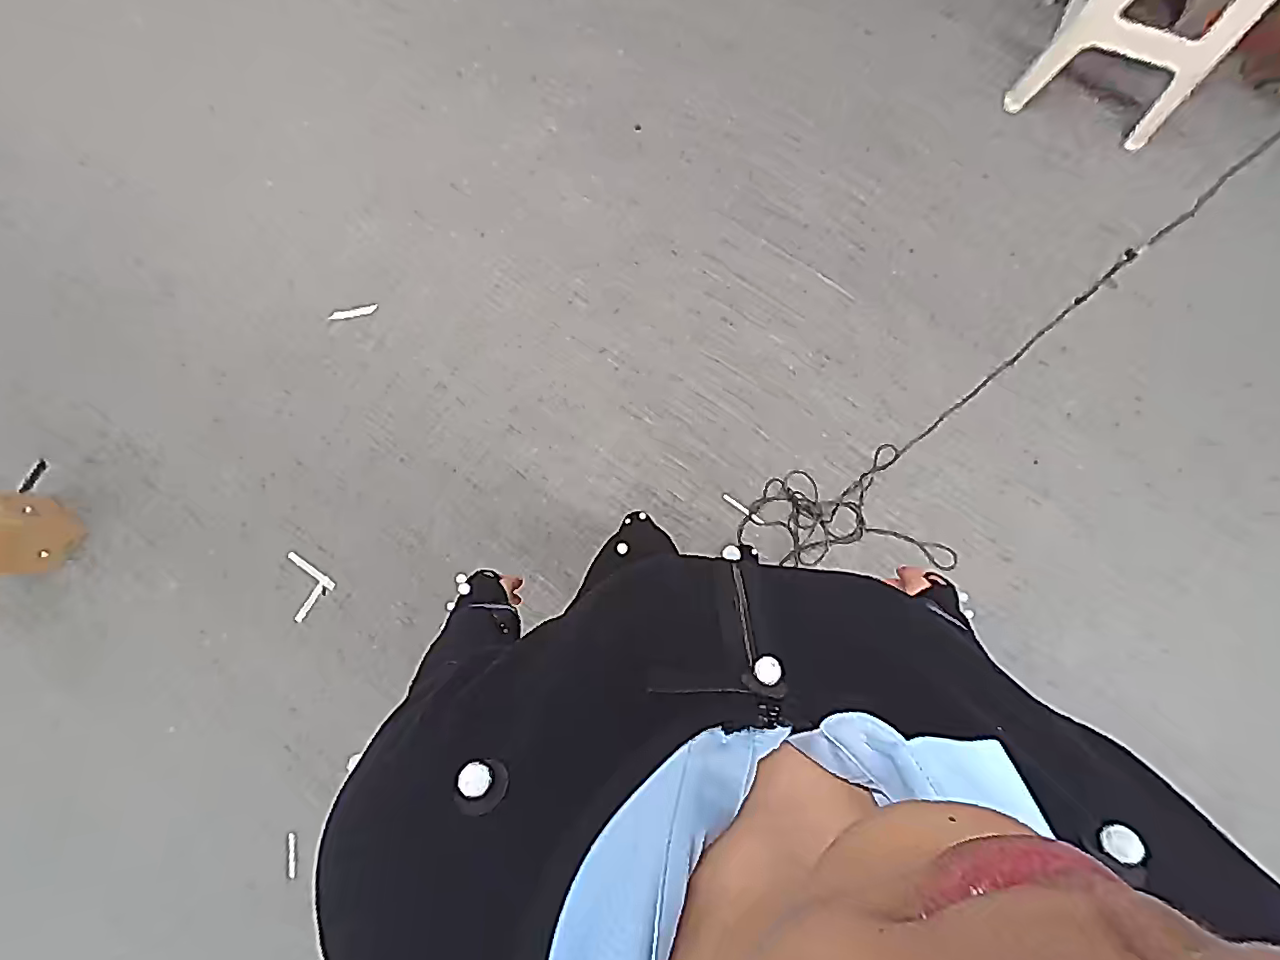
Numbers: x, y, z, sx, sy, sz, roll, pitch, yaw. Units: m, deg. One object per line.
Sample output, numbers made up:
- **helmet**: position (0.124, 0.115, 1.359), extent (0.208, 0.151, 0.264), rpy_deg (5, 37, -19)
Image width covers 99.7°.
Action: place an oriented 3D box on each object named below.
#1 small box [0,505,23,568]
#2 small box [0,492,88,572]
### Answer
- **small box**: position (-1.829, 0.146, 1.439), extent (0.168, 0.176, 0.179), rpy_deg (30, 89, 7)
- **small box**: position (-1.819, 0.150, 1.602), extent (0.179, 0.176, 0.168), rpy_deg (38, 89, 7)
